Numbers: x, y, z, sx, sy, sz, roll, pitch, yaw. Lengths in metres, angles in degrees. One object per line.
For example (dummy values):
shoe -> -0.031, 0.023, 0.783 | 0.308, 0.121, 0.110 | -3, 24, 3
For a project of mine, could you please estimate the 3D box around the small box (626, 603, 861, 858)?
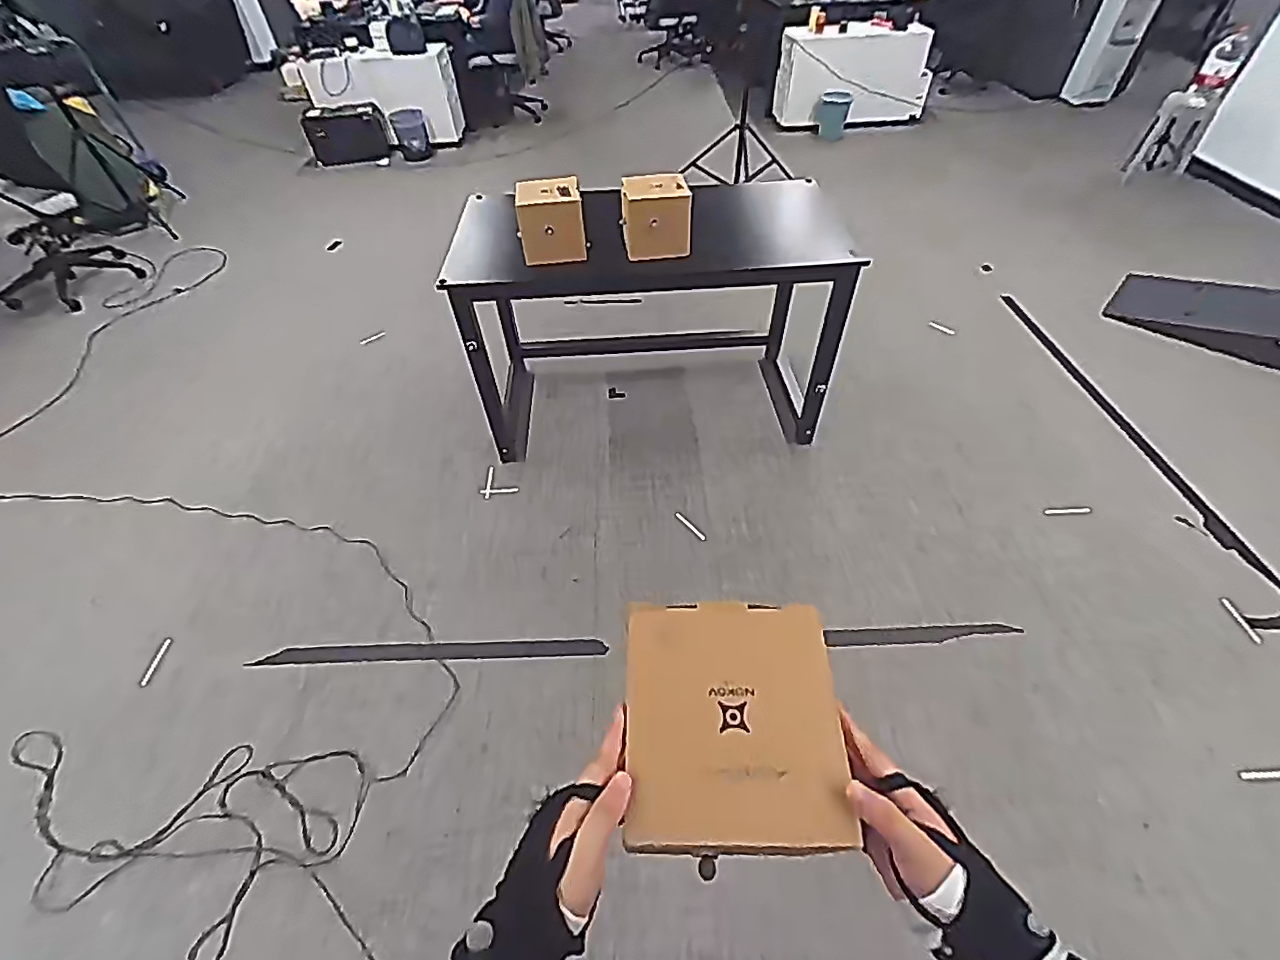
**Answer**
small box -> 0.072, 0.227, 0.486 | 0.168, 0.176, 0.179 | 1, 53, 0

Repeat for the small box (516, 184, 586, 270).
small box -> -0.250, -0.723, 1.553 | 0.179, 0.176, 0.168 | -7, 48, -3

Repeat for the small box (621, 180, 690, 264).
small box -> 0.044, -0.736, 1.553 | 0.179, 0.176, 0.168 | -7, 48, -3
